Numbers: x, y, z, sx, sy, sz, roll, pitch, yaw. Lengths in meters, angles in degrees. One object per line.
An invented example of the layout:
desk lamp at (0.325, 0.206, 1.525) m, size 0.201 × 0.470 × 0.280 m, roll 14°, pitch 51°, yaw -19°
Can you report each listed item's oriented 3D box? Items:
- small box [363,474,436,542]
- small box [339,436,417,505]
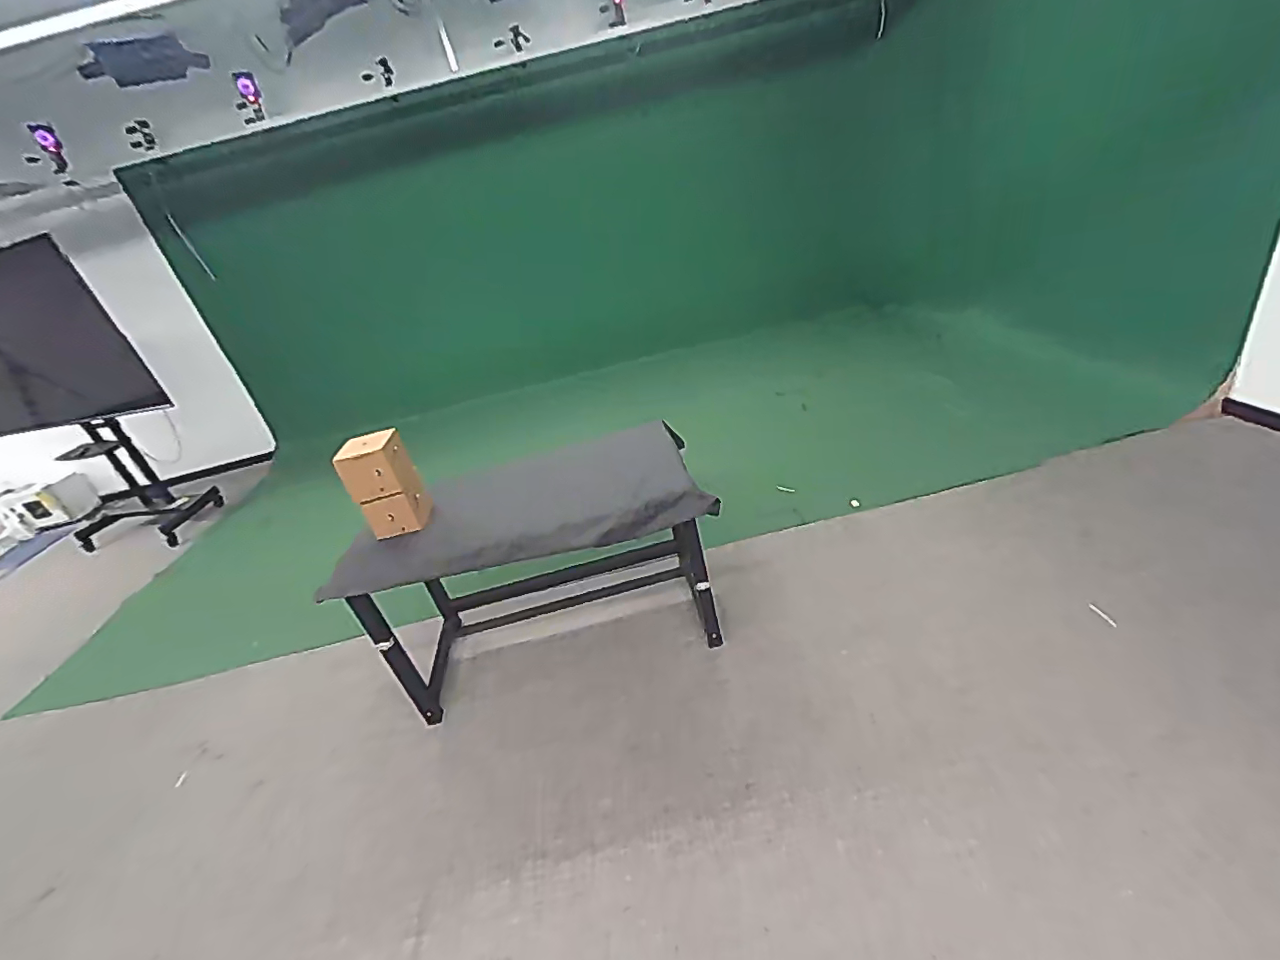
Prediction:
small box at (-0.857, 0.107, 1.945) m, size 0.168 × 0.176 × 0.179 m, roll -13°, pitch 28°, yaw 1°
small box at (-0.890, -0.026, 1.856) m, size 0.168 × 0.176 × 0.179 m, roll -14°, pitch 27°, yaw -1°
